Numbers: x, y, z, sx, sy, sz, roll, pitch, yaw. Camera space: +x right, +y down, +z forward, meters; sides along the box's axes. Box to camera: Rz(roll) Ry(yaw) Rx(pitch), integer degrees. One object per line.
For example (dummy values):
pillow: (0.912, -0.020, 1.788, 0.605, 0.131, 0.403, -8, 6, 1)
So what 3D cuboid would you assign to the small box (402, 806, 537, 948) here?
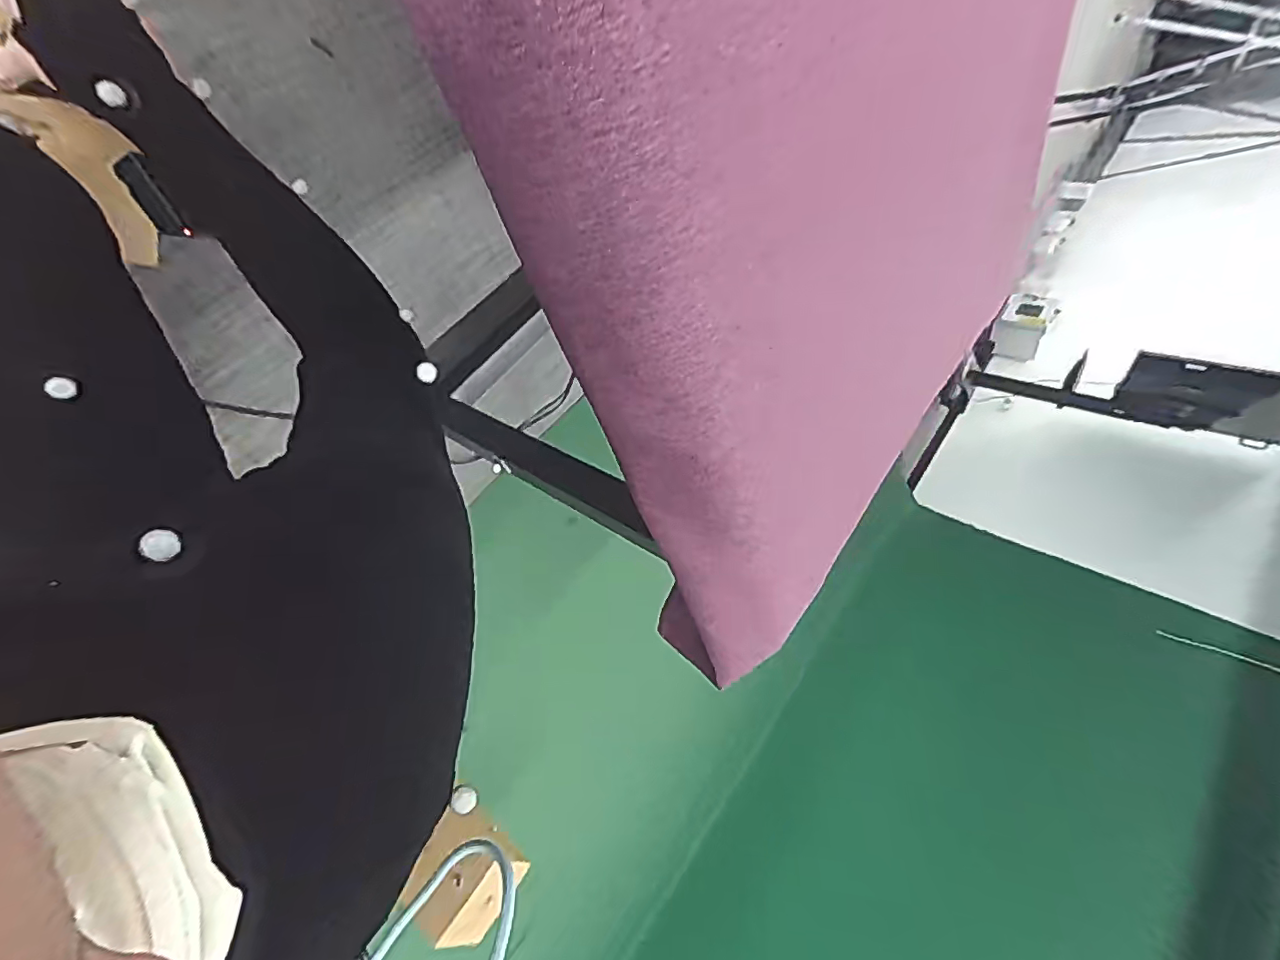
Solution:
small box: (-0.359, 0.828, 1.140, 0.179, 0.176, 0.168, -50, 143, -20)

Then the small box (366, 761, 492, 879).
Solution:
small box: (-0.482, 0.776, 1.235, 0.168, 0.176, 0.179, -51, 144, -20)
